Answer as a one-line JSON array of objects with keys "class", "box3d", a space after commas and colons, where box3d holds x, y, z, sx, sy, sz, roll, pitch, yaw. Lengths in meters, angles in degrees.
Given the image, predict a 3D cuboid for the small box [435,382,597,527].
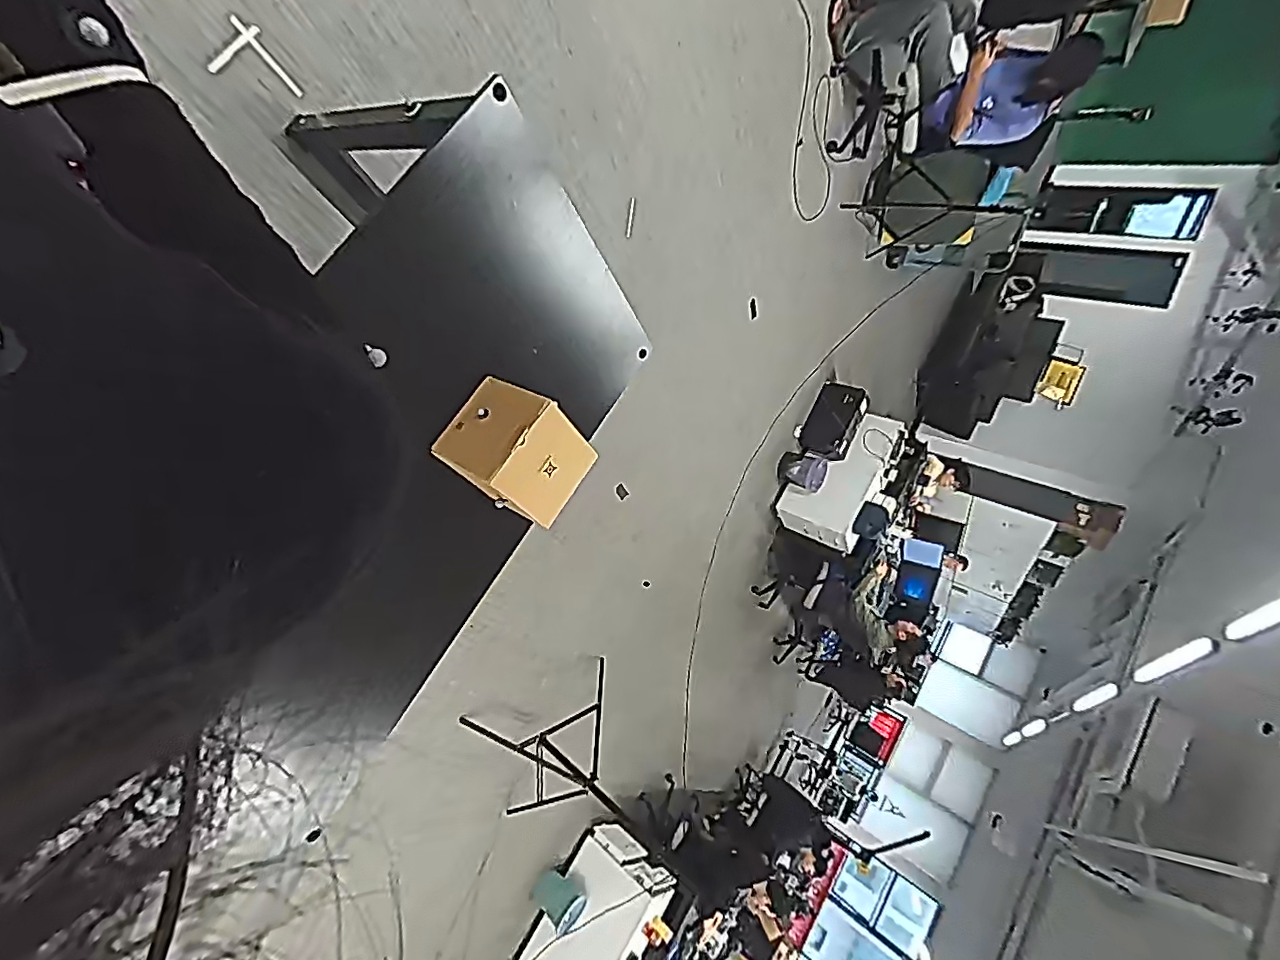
[{"class": "small box", "box3d": [-0.213, -0.049, 0.944, 0.168, 0.176, 0.179, -57, 144, -14]}]
